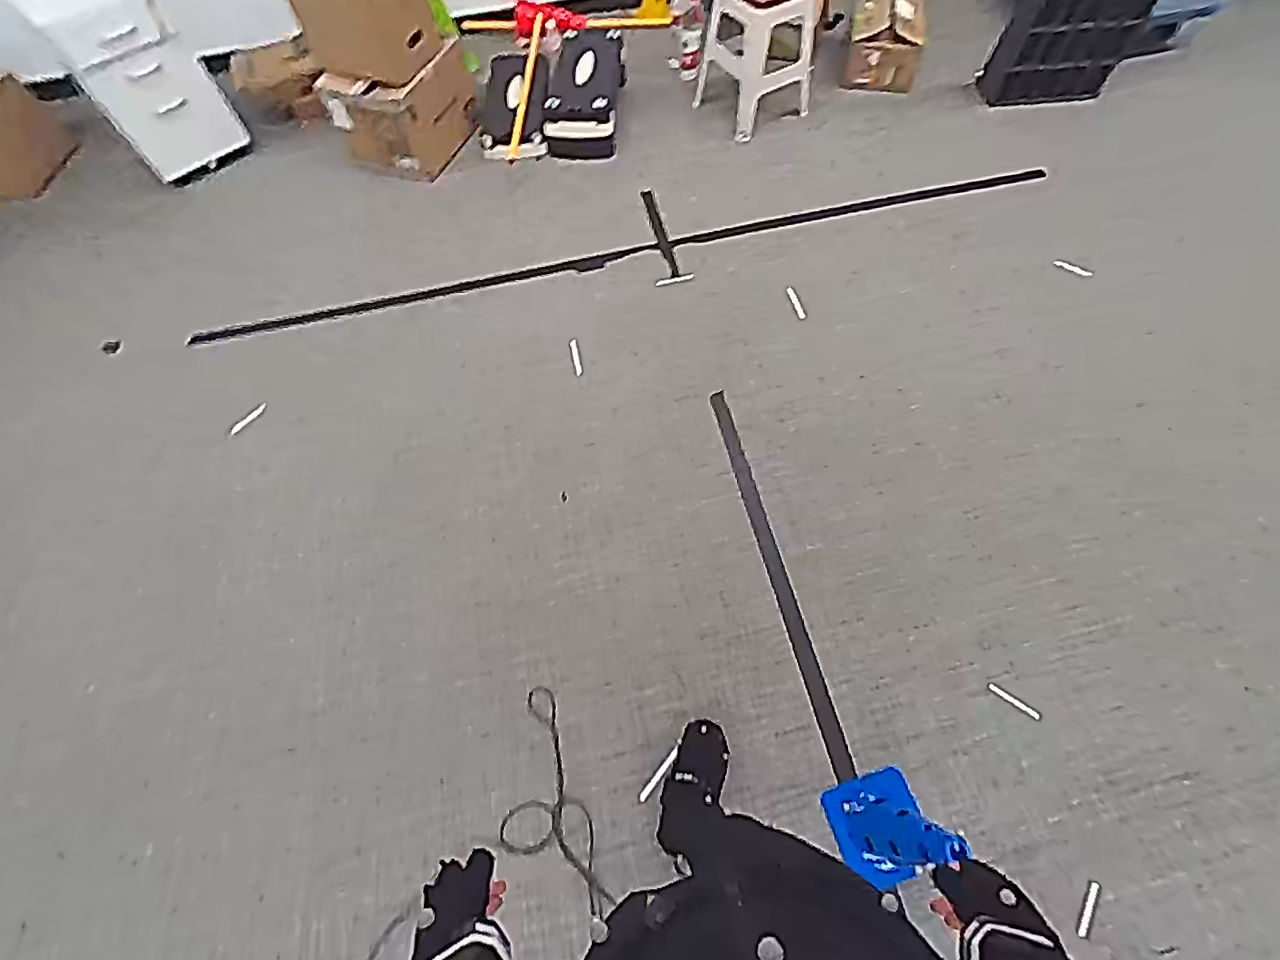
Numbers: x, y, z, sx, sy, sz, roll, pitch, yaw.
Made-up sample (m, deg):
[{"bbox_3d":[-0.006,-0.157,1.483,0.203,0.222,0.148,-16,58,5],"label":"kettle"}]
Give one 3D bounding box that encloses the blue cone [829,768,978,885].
[{"bbox_3d":[0.521,0.676,1.034,0.192,0.380,0.193,-15,63,-7],"label":"blue cone"}]
